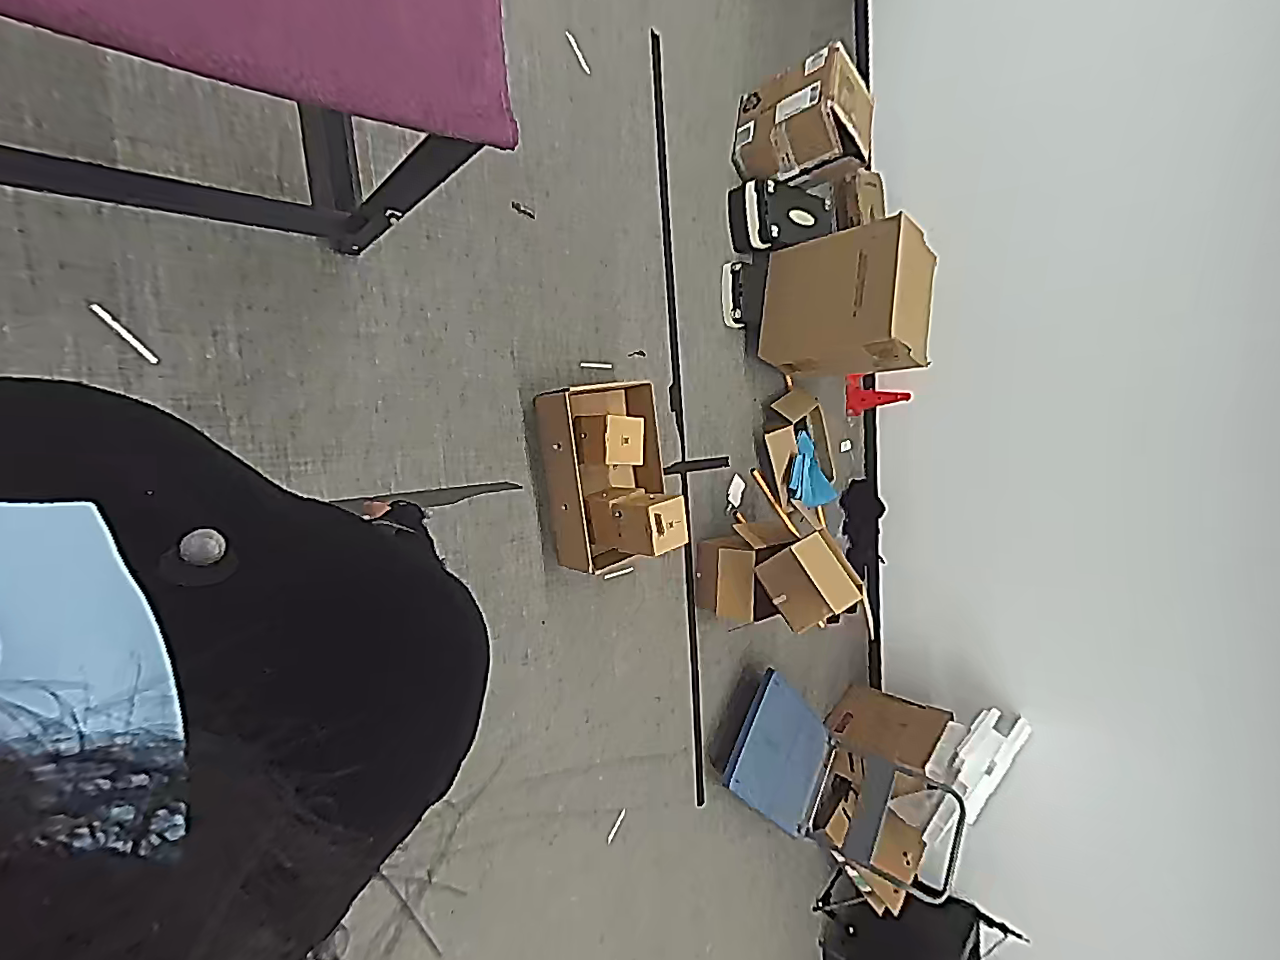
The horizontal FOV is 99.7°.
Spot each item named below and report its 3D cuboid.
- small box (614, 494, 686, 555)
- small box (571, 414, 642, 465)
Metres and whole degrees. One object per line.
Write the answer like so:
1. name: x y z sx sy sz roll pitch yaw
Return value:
1. small box: 0.027 0.142 1.795 0.179 0.176 0.168 -15 102 -45
2. small box: -0.116 -0.139 1.874 0.179 0.176 0.168 -1 94 -46
